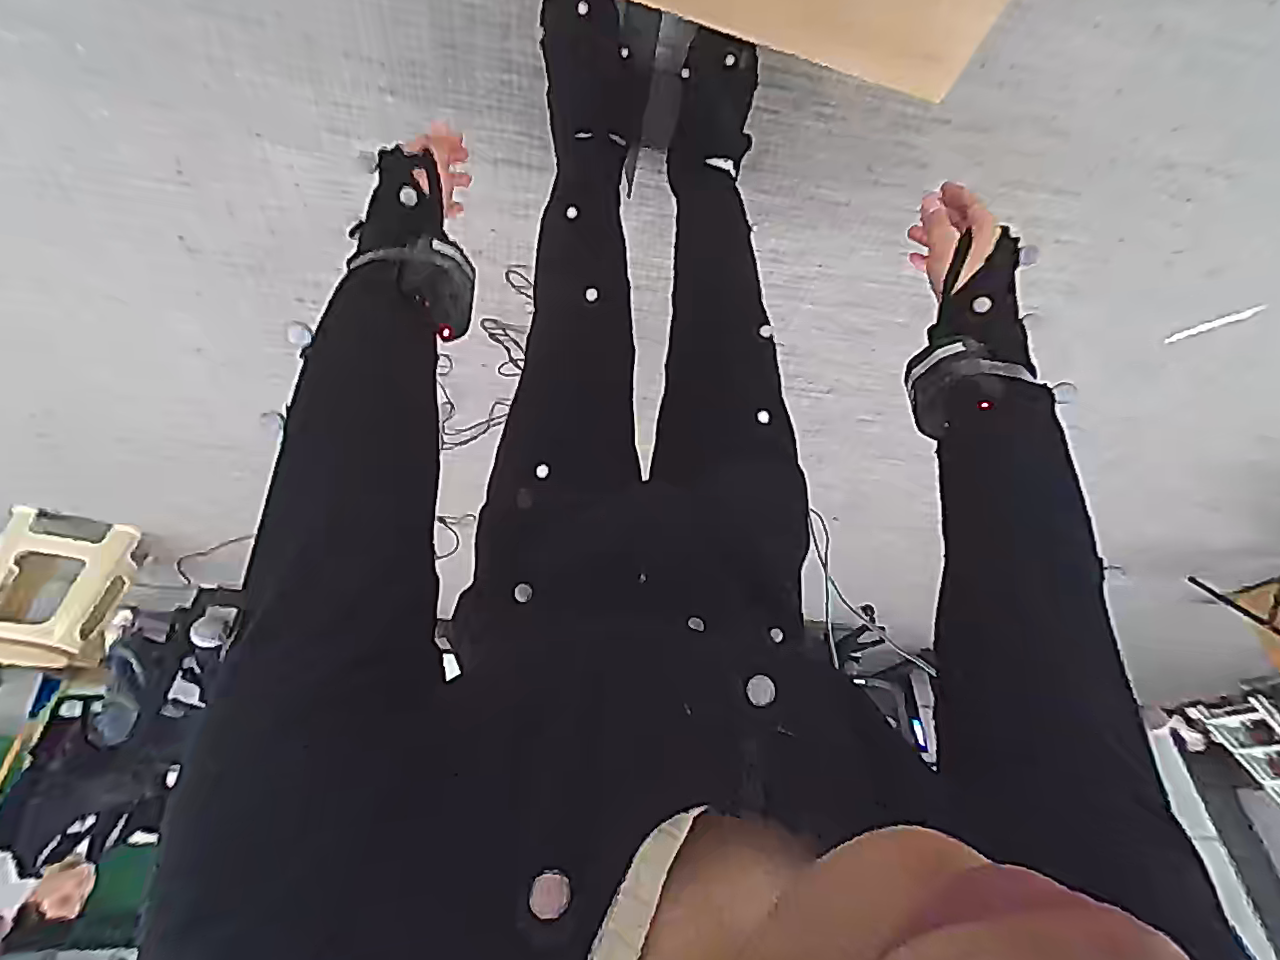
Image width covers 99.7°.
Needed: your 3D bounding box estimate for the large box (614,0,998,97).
[{"bbox_3d":[0.145,-0.618,0.469,0.408,0.320,0.320,7,147,-13],"label":"large box"}]
